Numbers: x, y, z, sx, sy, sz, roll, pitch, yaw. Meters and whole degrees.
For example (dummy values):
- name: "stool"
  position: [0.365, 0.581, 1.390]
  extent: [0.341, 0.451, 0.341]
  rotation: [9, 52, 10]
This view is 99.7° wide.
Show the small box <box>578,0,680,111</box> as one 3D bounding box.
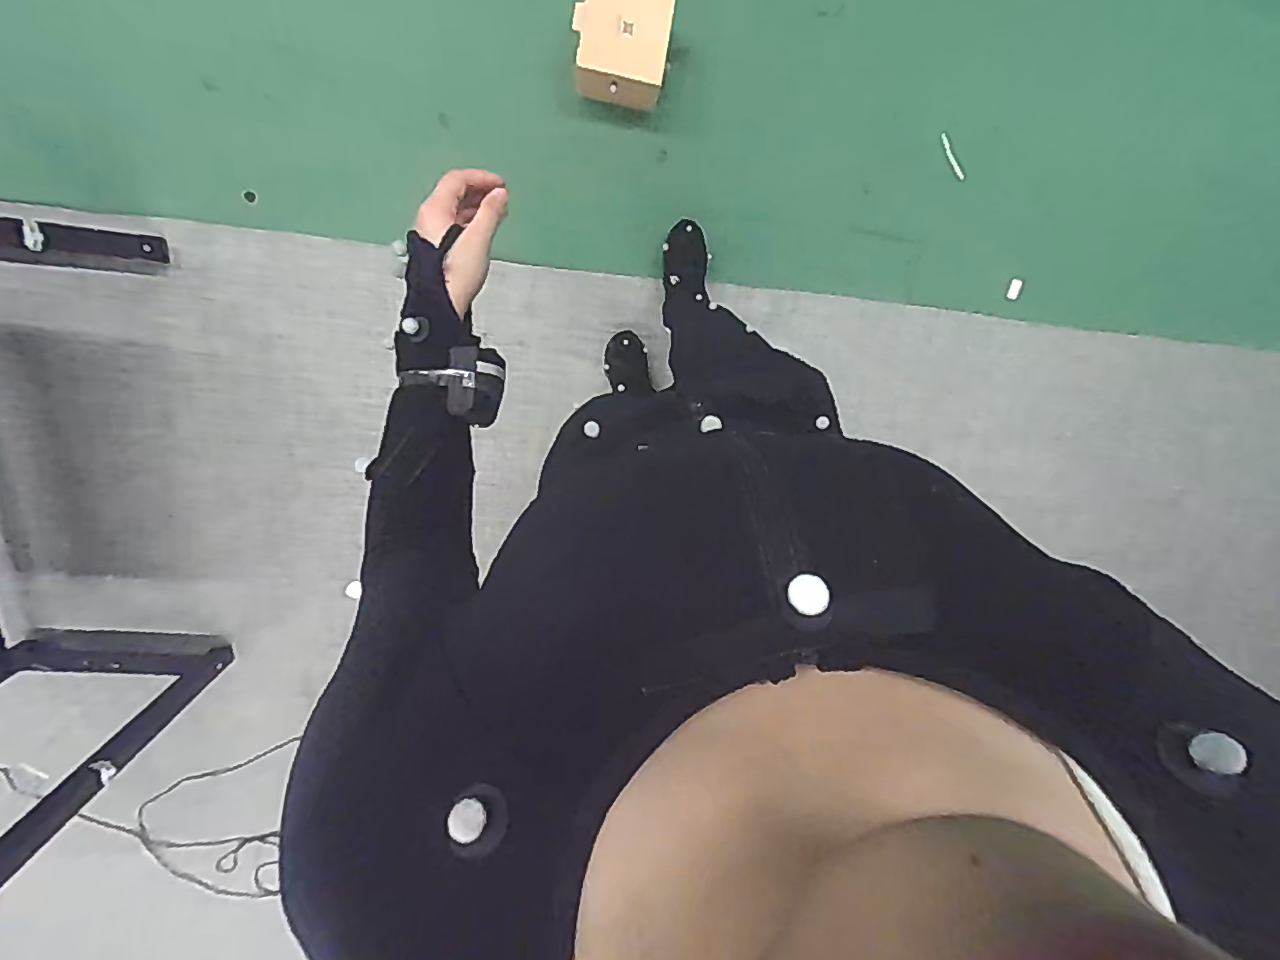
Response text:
- name: "small box"
  position: [-0.027, -0.895, 1.121]
  extent: [0.179, 0.176, 0.168]
  rotation: [9, 108, -6]
